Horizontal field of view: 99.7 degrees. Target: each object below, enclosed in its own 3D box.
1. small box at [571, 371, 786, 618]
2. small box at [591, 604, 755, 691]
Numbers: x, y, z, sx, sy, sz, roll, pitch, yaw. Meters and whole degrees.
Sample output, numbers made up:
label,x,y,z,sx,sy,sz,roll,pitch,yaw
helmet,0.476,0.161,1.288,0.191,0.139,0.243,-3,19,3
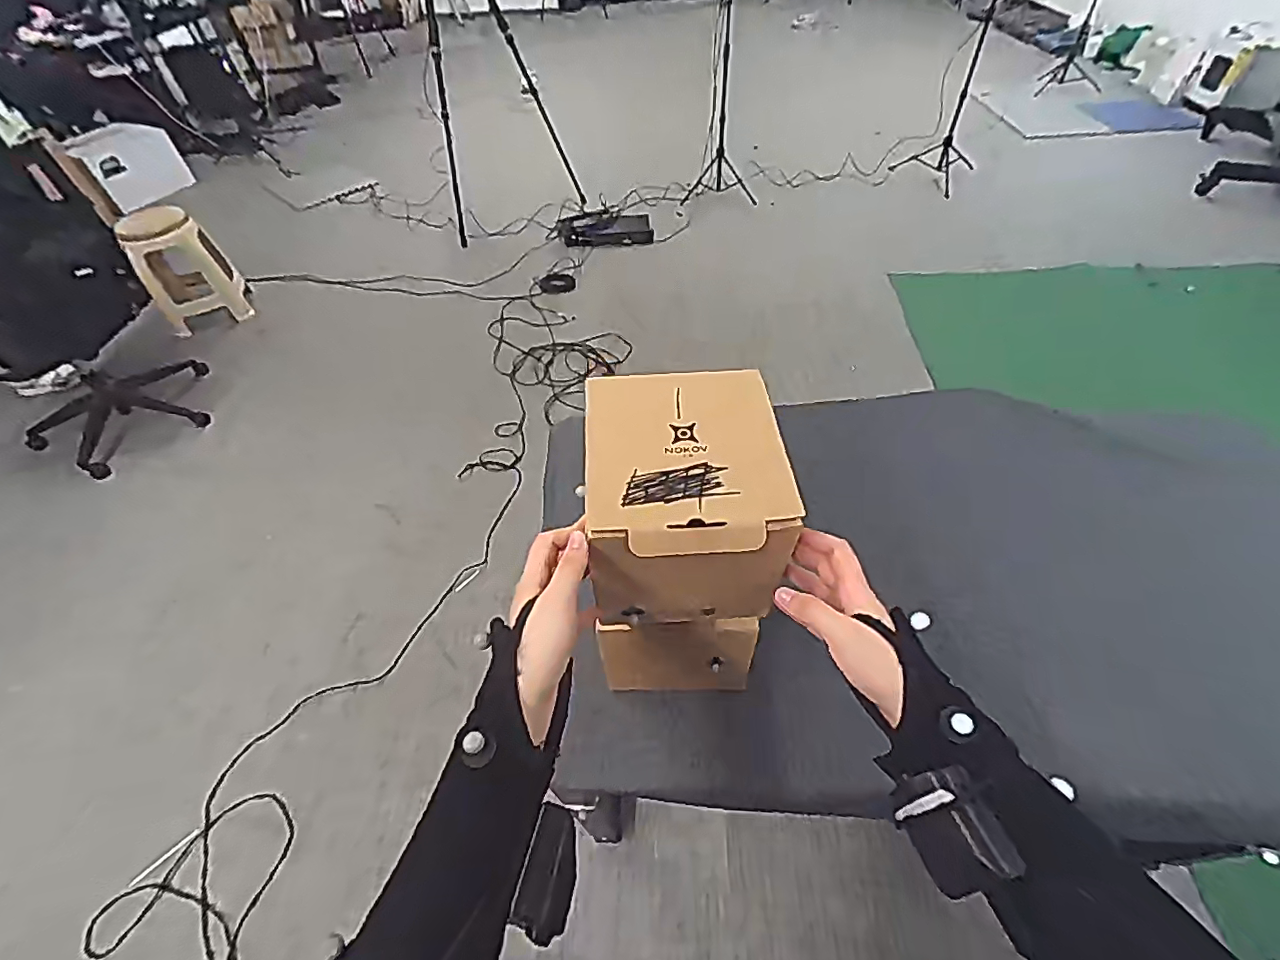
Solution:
label,x,y,z,sx,sy,sz,roll,pitch,yaw
small box,0.028,0.021,0.515,0.168,0.176,0.179,-4,51,-1
small box,0.039,0.154,0.681,0.179,0.176,0.168,-3,47,3
